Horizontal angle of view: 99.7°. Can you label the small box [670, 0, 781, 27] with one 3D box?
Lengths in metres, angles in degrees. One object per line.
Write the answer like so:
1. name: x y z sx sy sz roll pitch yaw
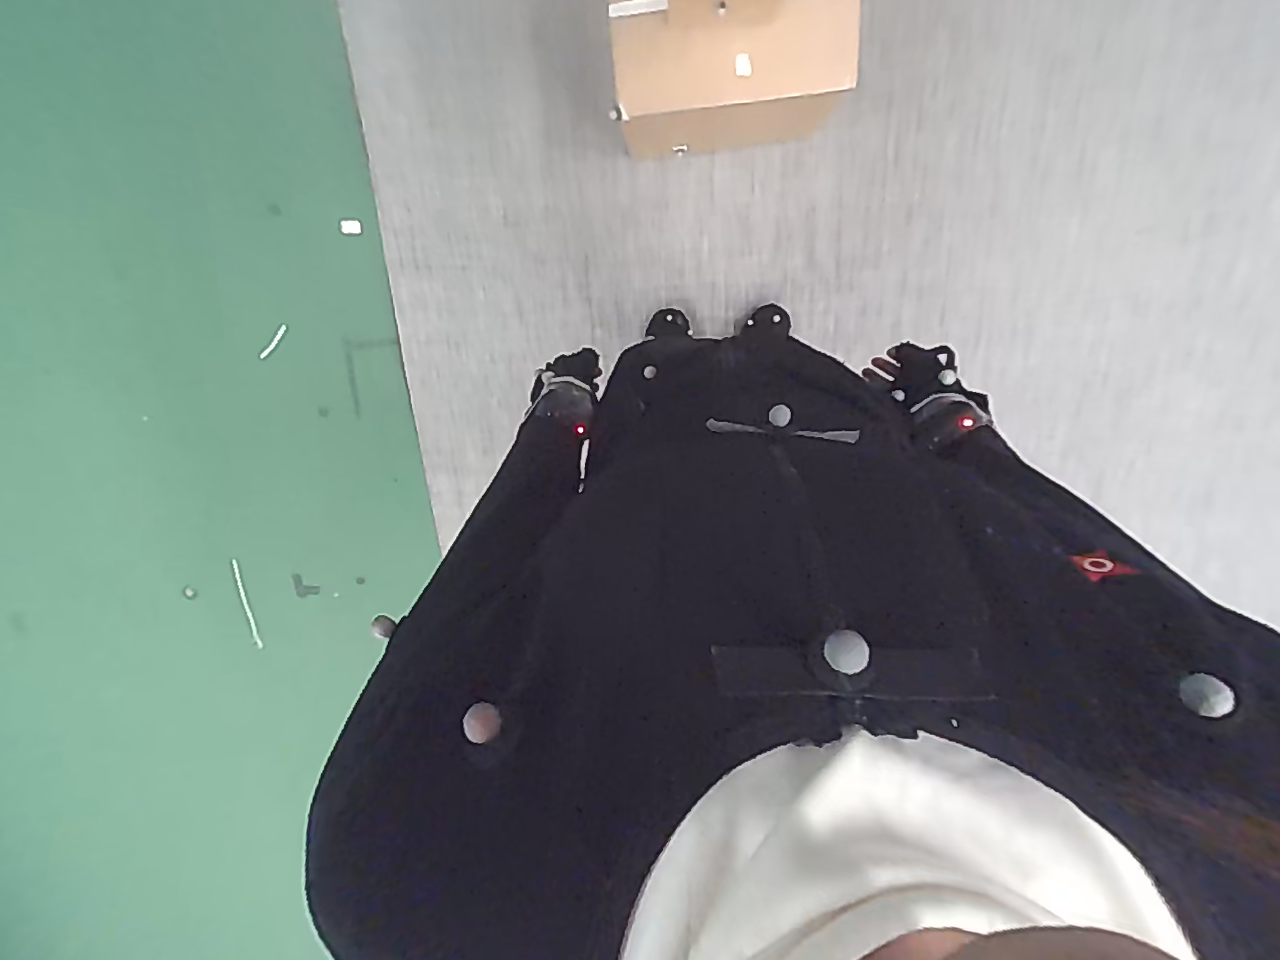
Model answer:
1. small box: 0.129 -0.790 0.780 0.179 0.176 0.168 -3 115 5
